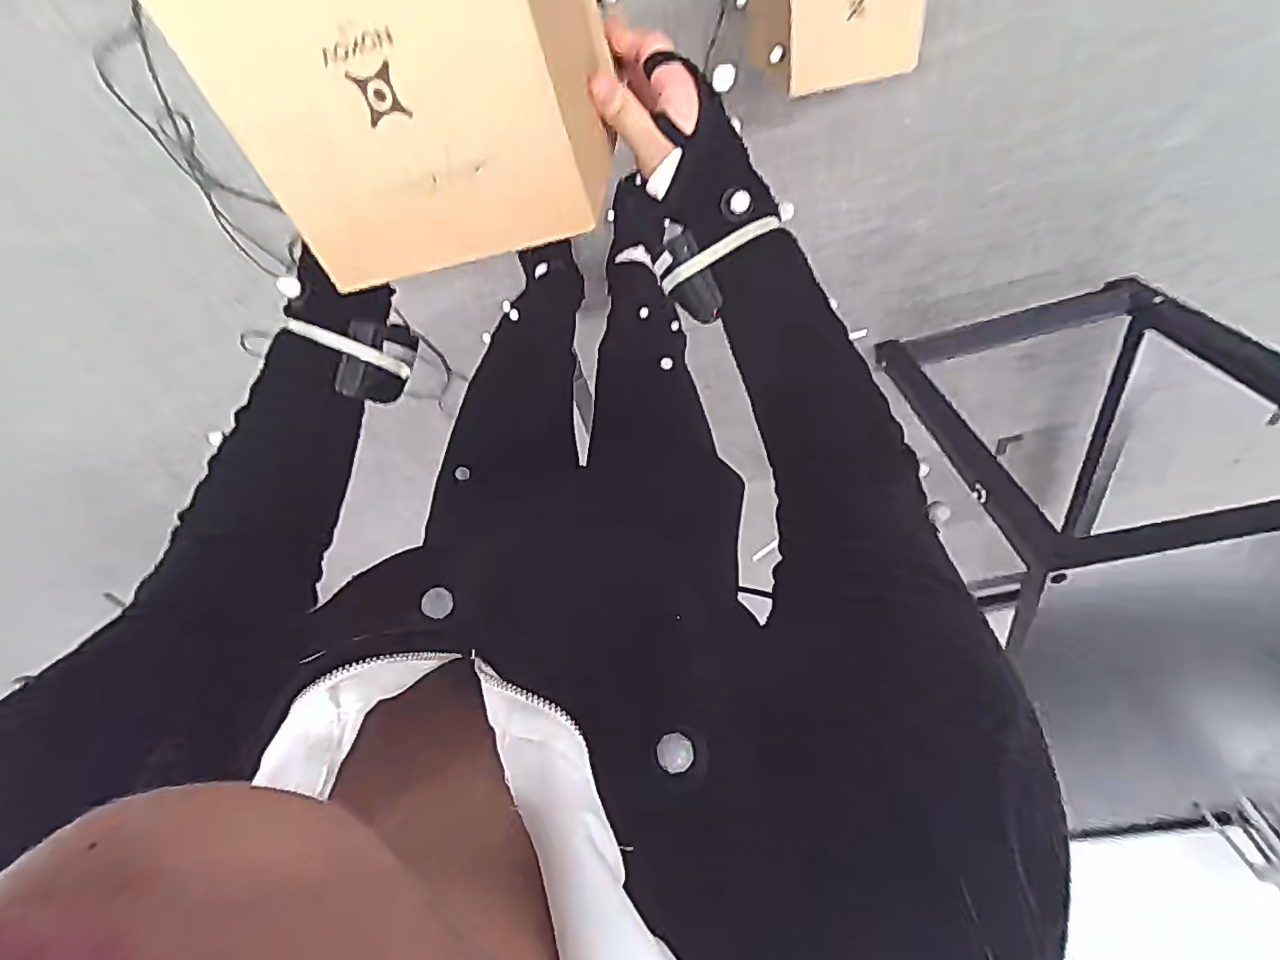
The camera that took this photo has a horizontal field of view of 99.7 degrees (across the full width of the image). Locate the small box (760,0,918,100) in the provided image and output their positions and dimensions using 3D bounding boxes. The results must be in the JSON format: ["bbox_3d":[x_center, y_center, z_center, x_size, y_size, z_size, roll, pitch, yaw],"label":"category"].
[{"bbox_3d":[0.263,-0.647,0.736,0.168,0.176,0.179,-10,130,4],"label":"small box"}]

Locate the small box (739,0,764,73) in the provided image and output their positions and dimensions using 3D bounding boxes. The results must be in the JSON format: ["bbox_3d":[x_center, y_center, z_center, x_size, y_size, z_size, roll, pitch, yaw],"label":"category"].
[{"bbox_3d":[0.260,-0.762,0.854,0.179,0.176,0.168,-6,130,3],"label":"small box"}]
